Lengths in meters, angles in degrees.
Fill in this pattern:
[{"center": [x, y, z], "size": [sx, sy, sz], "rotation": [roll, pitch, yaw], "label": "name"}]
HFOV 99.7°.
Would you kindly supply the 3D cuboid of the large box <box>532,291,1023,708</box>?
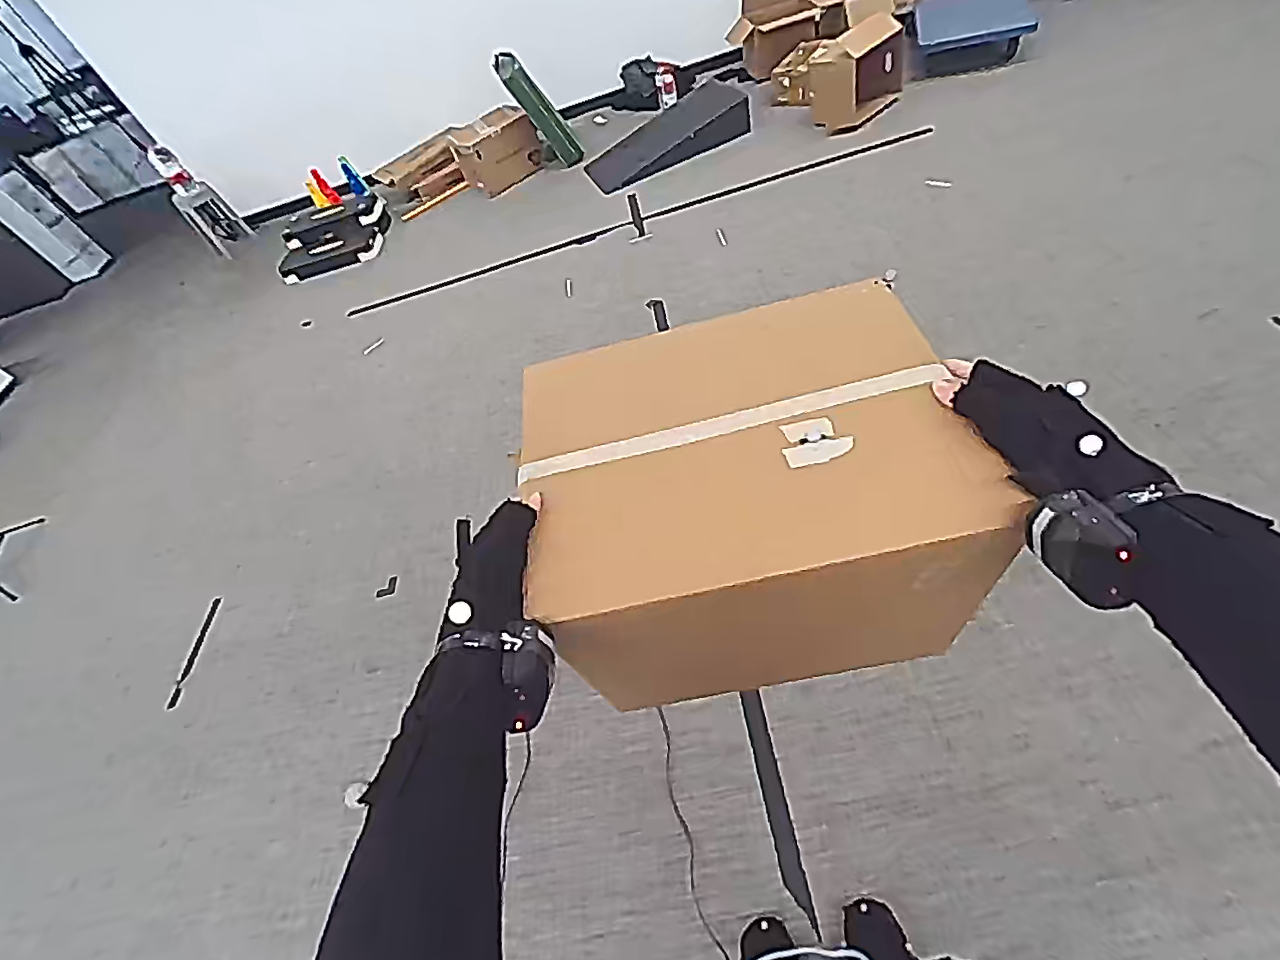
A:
[{"center": [0.115, 0.041, 0.640], "size": [0.408, 0.320, 0.320], "rotation": [-13, 54, 4], "label": "large box"}]
